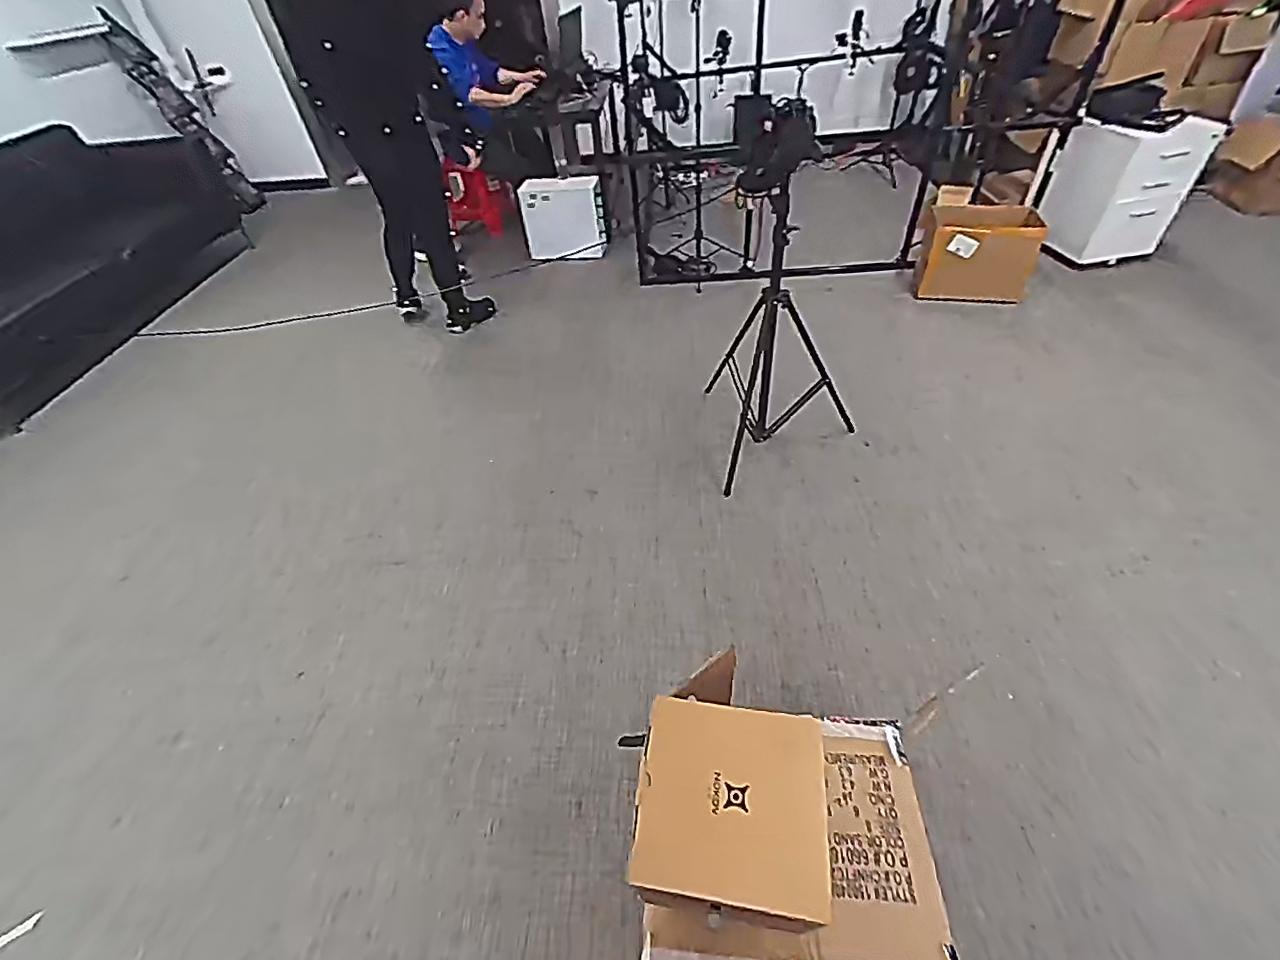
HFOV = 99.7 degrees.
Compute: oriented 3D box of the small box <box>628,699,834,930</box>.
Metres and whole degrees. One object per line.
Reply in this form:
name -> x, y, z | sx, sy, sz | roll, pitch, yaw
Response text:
small box -> 0.095, 0.353, 0.569 | 0.179, 0.176, 0.168 | 3, 48, 11
